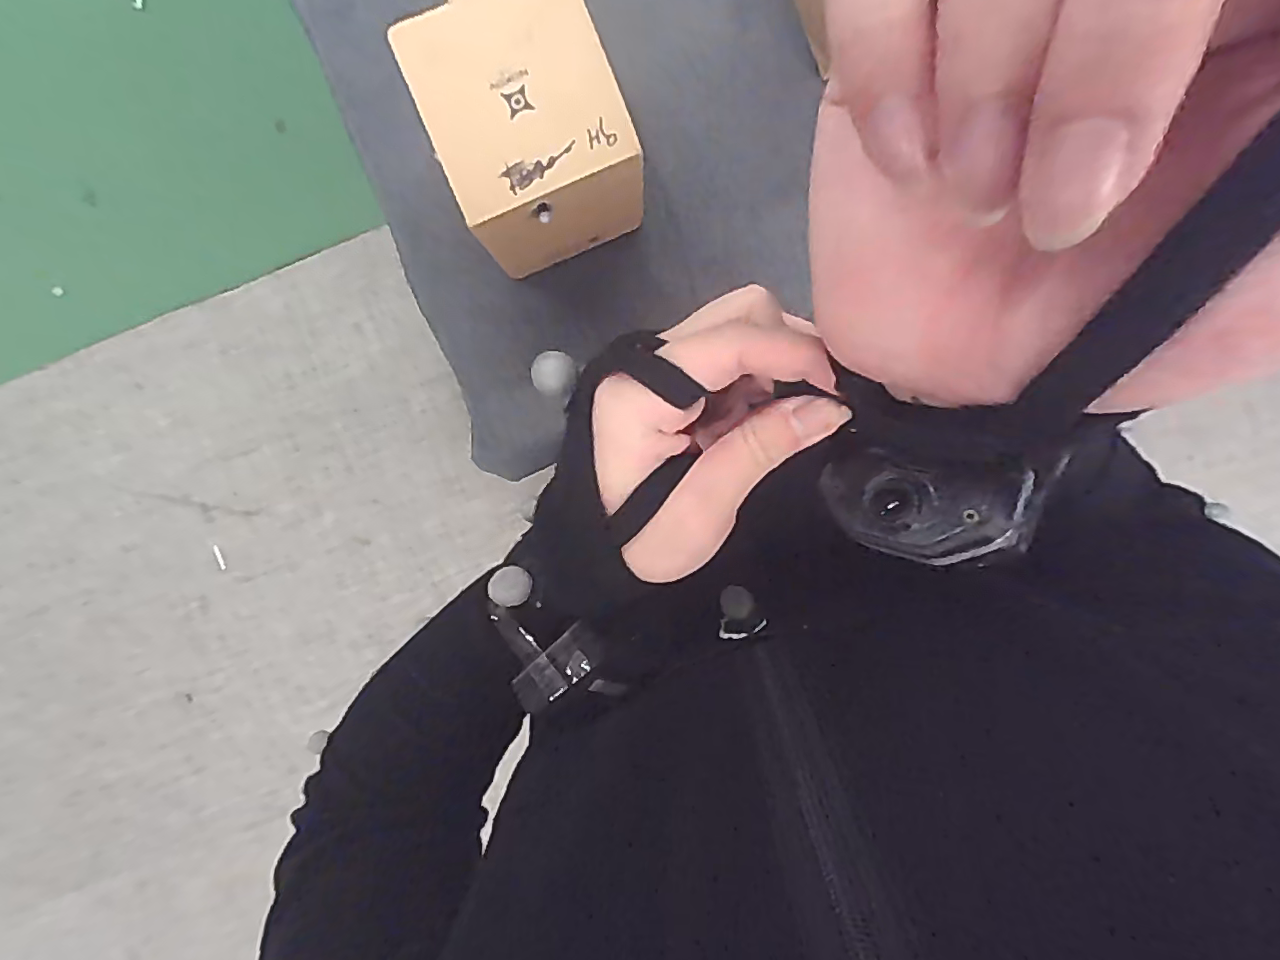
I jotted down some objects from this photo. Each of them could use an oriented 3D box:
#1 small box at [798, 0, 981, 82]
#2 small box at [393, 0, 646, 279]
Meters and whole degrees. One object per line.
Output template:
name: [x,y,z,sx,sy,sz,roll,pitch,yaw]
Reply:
small box: [0.248,-0.540,0.513,0.168,0.176,0.179,-23,97,4]
small box: [-0.102,-0.330,0.535,0.168,0.176,0.179,-23,94,3]
